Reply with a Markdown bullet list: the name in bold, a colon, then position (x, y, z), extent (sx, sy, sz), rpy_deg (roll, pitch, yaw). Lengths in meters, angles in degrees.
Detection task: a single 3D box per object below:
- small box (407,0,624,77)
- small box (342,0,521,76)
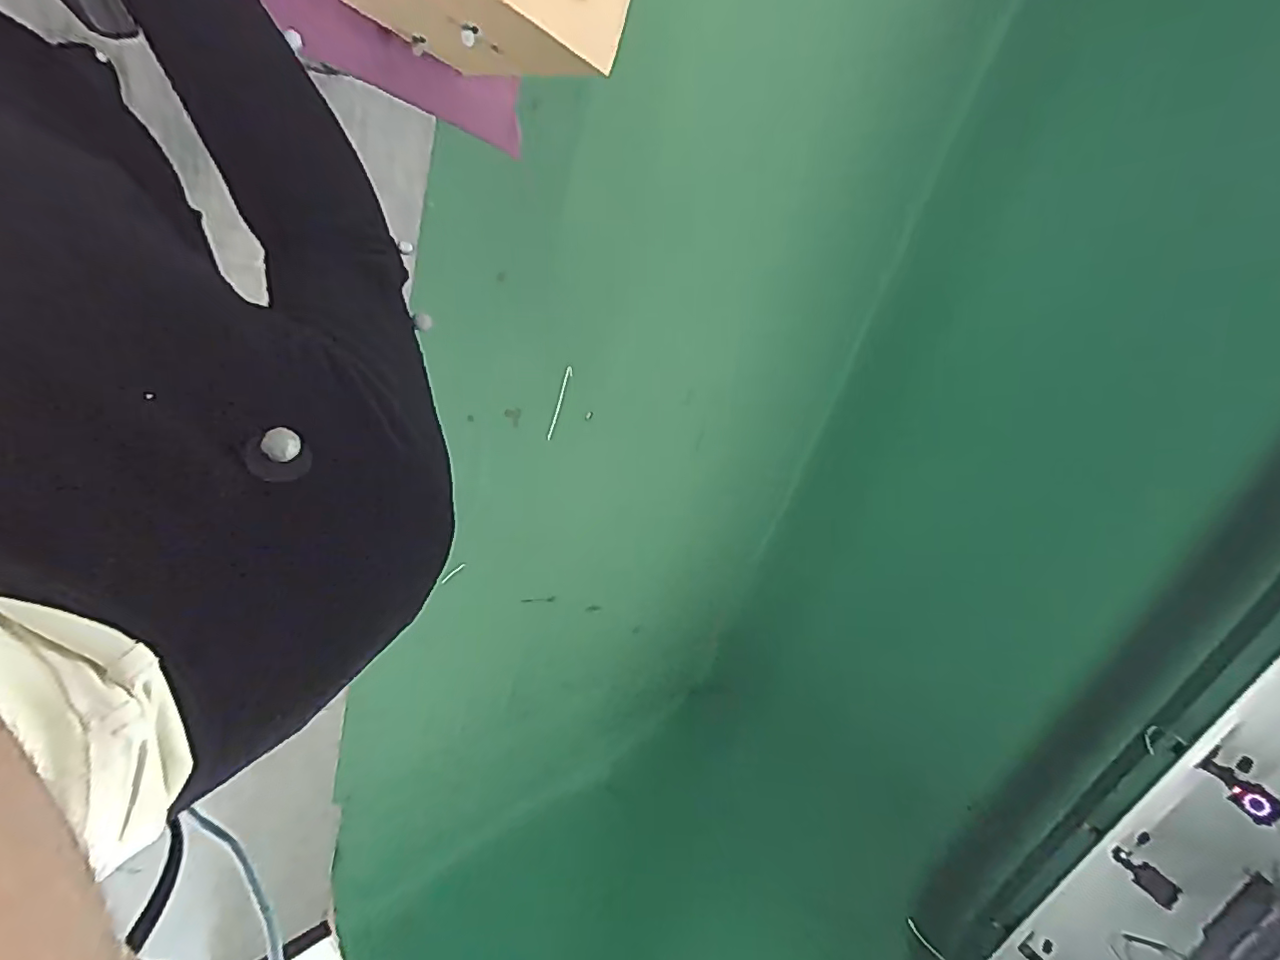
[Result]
- **small box**: position (-0.121, -0.547, 0.544), extent (0.168, 0.176, 0.179), rpy_deg (-1, 118, -47)
- **small box**: position (-0.234, -0.618, 0.638), extent (0.179, 0.176, 0.168), rpy_deg (-2, 118, -49)
